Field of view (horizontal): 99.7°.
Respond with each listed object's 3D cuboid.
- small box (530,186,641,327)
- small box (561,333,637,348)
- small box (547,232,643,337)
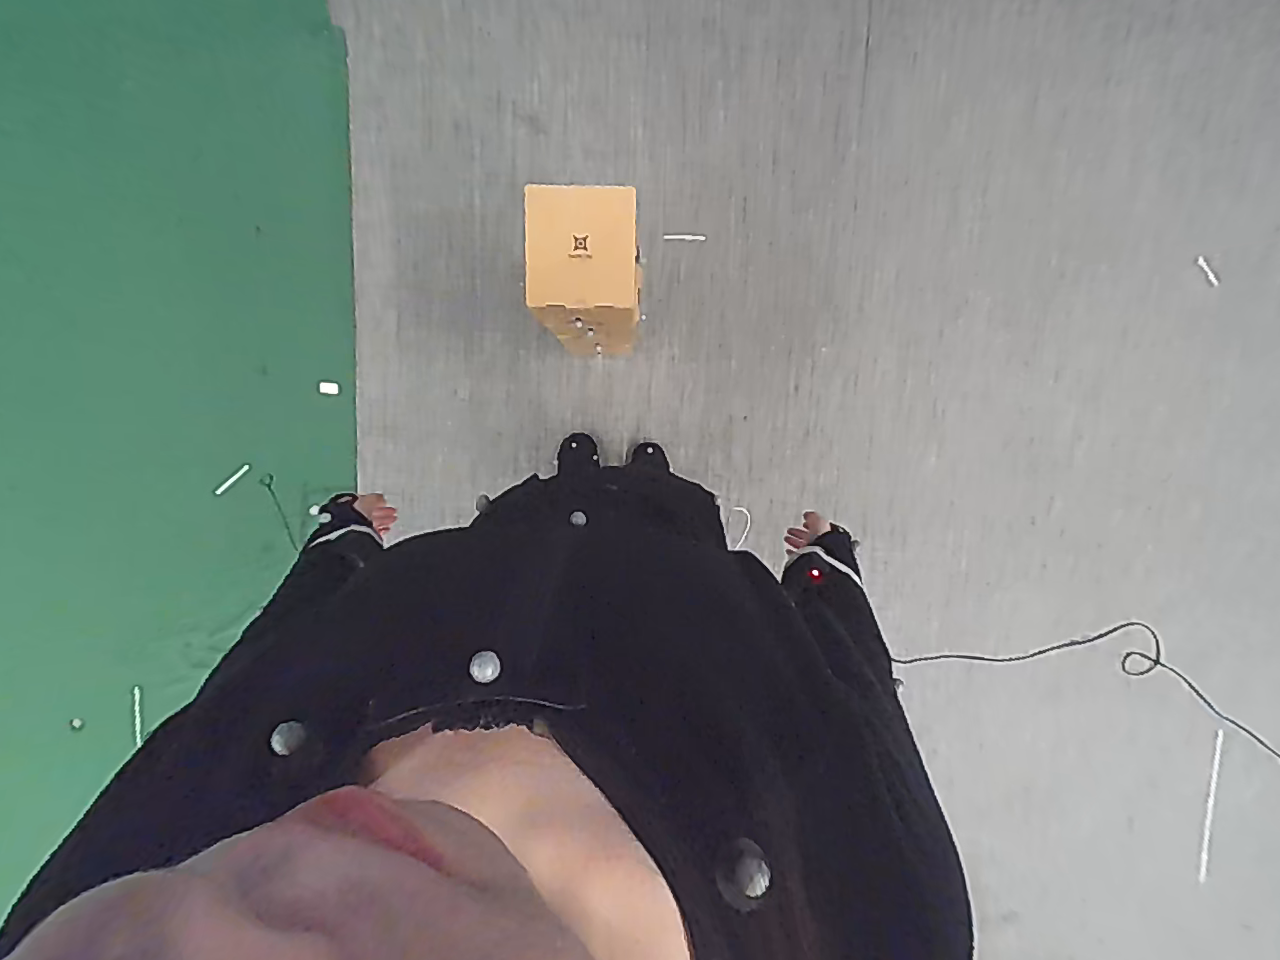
[{"bbox_3d":[-0.084,-0.356,0.889,0.168,0.176,0.179,1,97,0],"label":"small box"},{"bbox_3d":[-0.091,-0.398,1.214,0.168,0.176,0.179,-2,97,1],"label":"small box"},{"bbox_3d":[-0.083,-0.374,1.051,0.179,0.176,0.168,0,97,0],"label":"small box"}]
